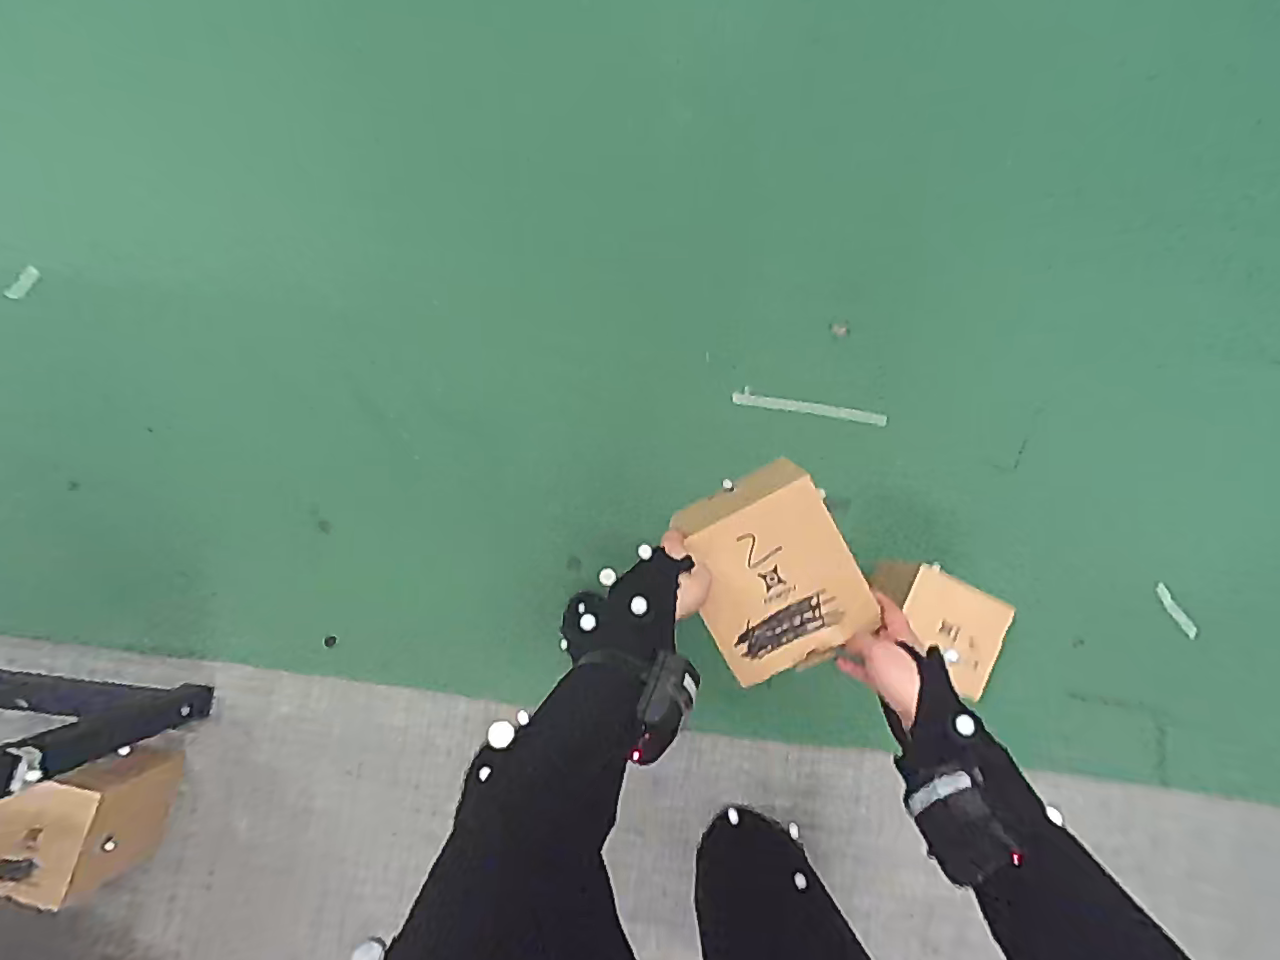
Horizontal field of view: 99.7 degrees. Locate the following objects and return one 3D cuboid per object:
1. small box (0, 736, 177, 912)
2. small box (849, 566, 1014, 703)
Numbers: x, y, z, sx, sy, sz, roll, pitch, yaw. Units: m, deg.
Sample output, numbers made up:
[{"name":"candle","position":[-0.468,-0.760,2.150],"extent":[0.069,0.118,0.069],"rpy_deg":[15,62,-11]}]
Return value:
[{"name":"small box","position":[-0.941,0.563,0.908],"extent":[0.168,0.176,0.179],"rpy_deg":[13,82,0]},{"name":"small box","position":[0.510,0.266,0.974],"extent":[0.179,0.176,0.168],"rpy_deg":[27,84,1]}]
